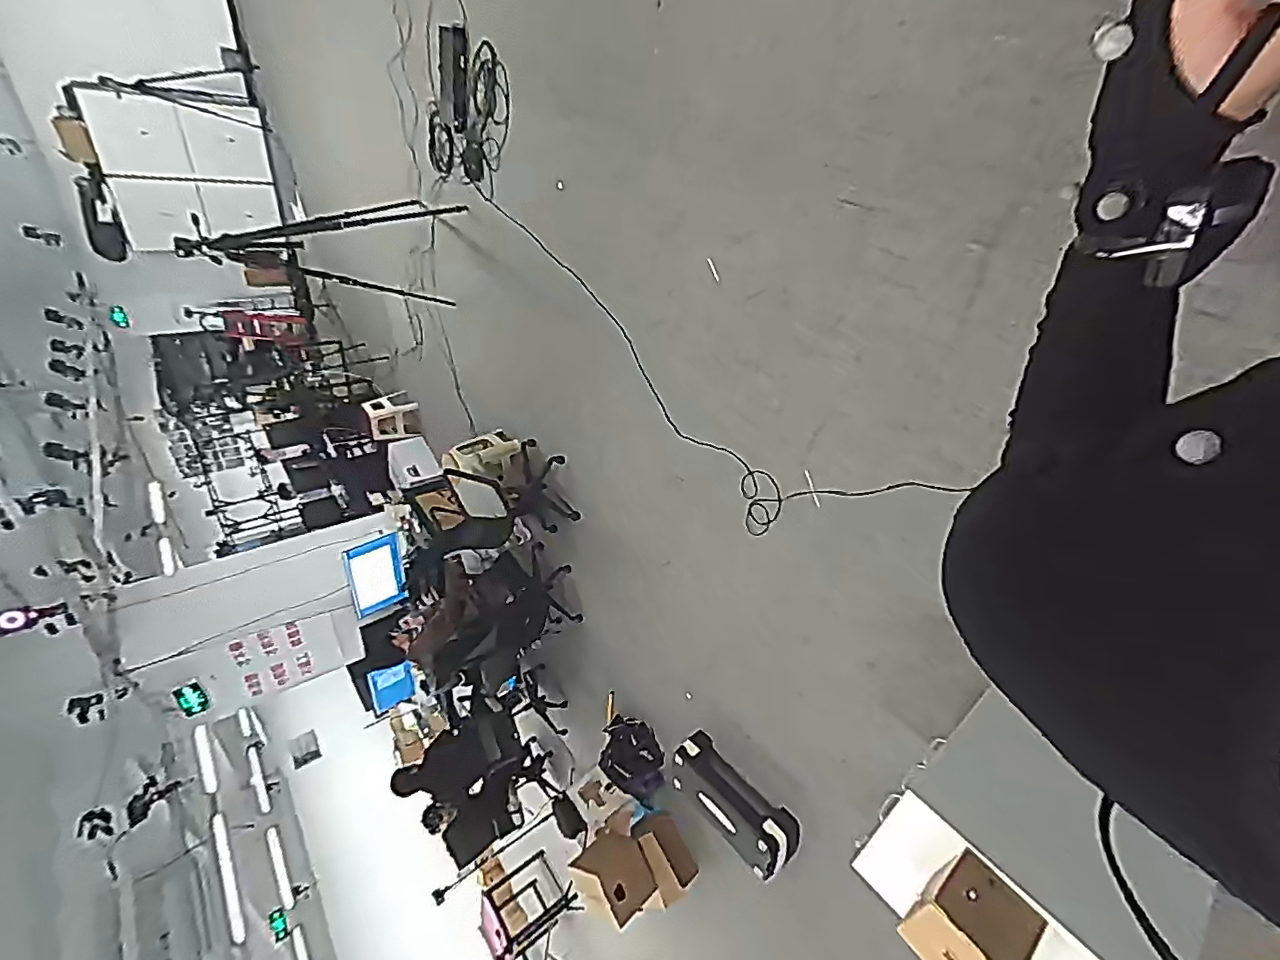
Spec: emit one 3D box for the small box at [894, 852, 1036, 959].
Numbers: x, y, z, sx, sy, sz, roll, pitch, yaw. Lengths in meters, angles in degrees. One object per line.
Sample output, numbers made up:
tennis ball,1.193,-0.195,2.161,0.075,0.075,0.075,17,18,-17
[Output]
small box,0.661,0.908,1.099,0.168,0.176,0.179,41,137,37
